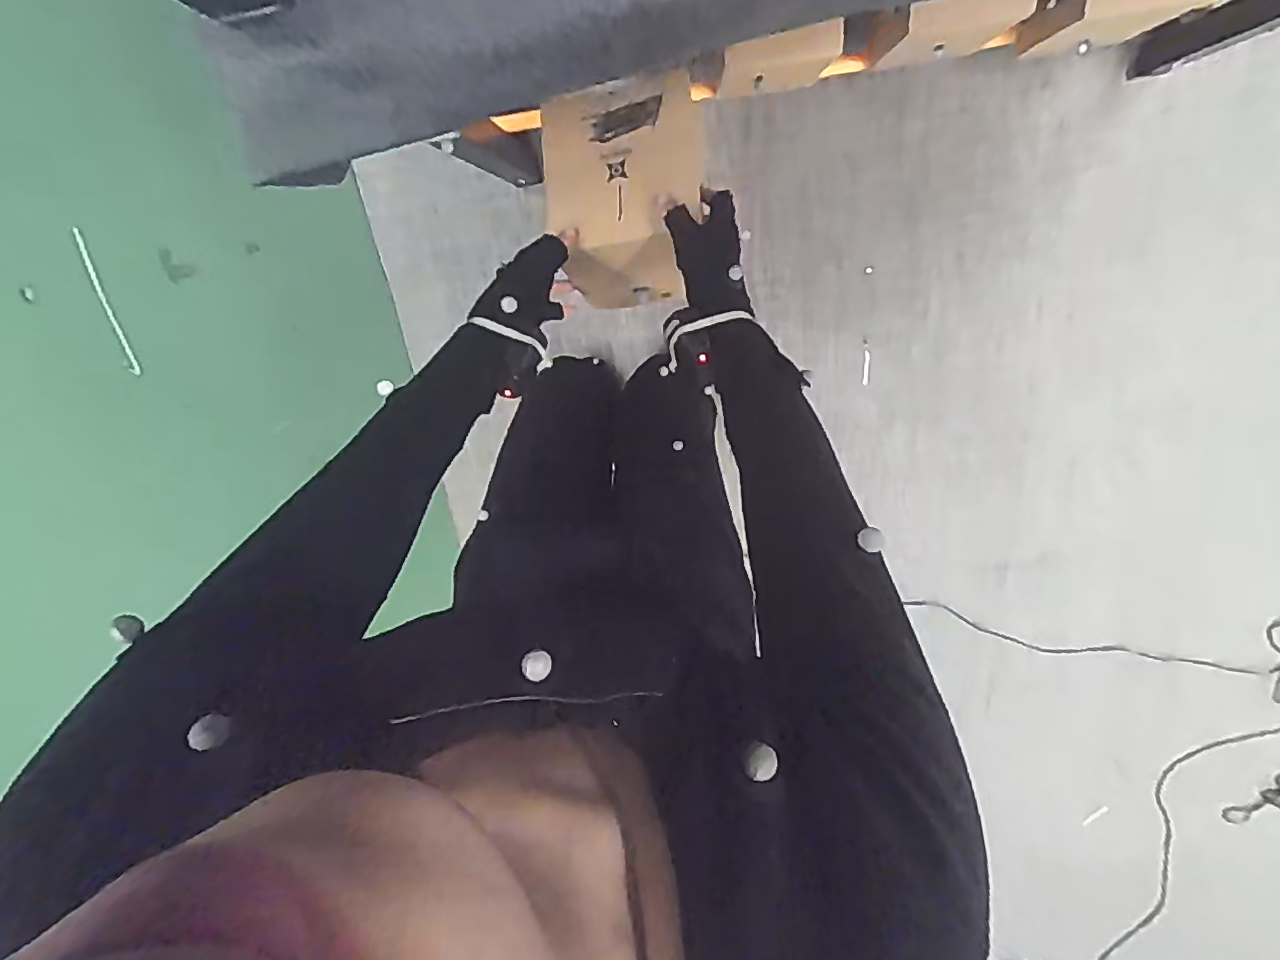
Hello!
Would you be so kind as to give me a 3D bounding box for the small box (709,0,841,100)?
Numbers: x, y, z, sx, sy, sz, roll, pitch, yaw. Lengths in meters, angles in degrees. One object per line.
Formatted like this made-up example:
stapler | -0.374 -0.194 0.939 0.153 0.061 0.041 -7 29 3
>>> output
small box | 0.193 -0.688 0.800 0.168 0.176 0.179 -6 112 5
